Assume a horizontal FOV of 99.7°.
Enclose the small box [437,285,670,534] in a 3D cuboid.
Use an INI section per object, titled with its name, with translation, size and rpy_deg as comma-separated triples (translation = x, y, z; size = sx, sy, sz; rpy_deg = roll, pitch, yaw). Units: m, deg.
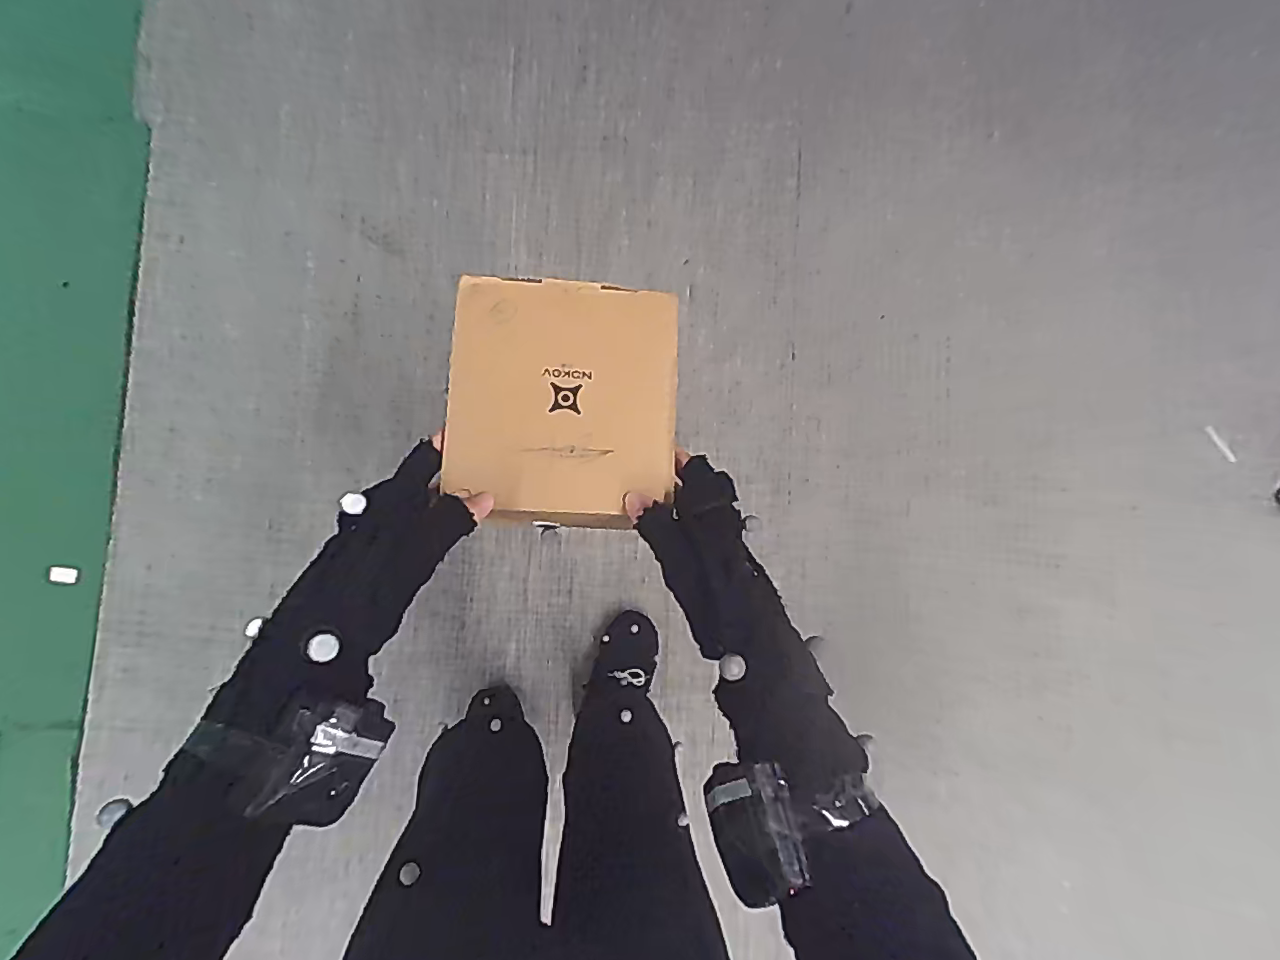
[small box]
translation = -0.069, -0.046, 0.479
size = 0.168, 0.176, 0.179
rpy_deg = 2, 82, -5
